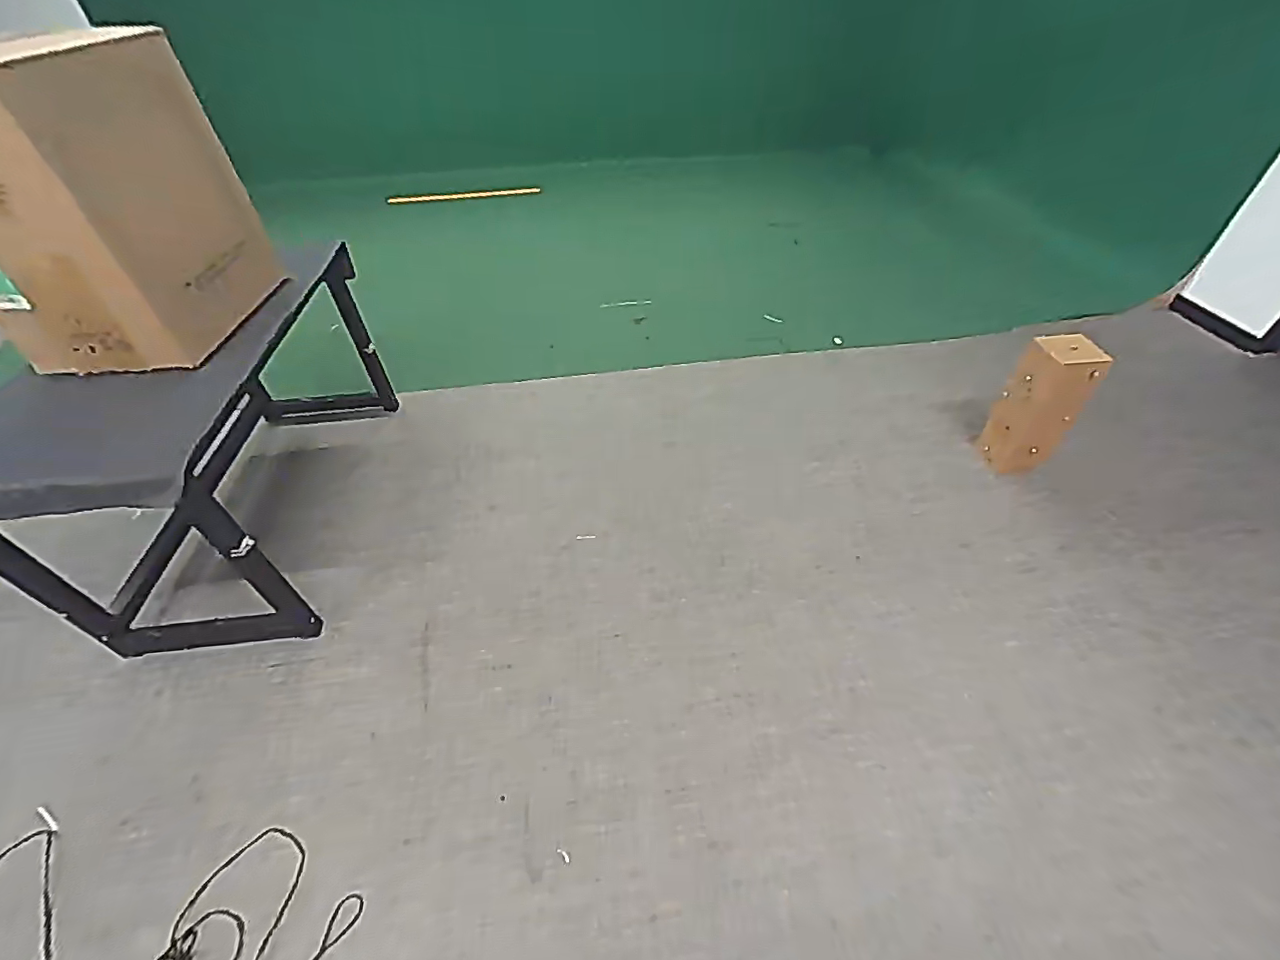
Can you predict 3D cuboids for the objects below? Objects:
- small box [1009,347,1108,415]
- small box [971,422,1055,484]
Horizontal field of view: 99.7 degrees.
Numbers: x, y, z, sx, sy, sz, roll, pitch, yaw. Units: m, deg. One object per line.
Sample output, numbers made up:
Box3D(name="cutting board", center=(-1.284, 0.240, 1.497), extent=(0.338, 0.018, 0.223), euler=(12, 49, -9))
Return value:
Box3D(name="small box", center=(1.429, -0.339, 1.861), extent=(0.179, 0.176, 0.168), euler=(-4, 44, -2))
Box3D(name="small box", center=(1.434, -0.104, 2.091), extent=(0.179, 0.176, 0.168), euler=(-6, 45, -4))
